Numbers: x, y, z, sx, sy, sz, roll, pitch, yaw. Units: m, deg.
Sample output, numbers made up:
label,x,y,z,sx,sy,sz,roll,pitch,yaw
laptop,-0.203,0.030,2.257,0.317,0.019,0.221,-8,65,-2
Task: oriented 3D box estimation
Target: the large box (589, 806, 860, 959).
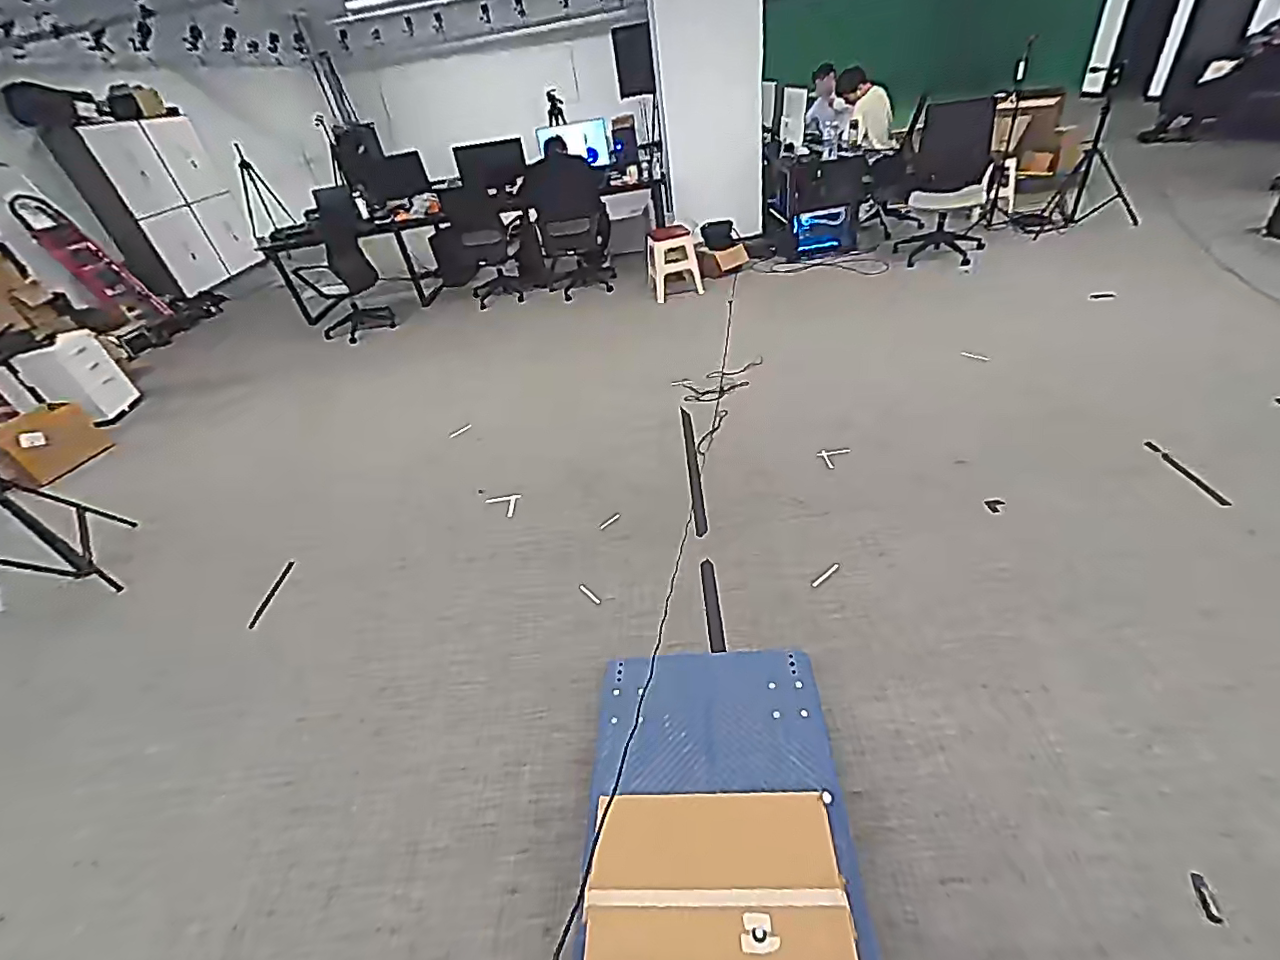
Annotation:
label,x,y,z,sx,sy,sz,roll,pitch,yaw
large box,0.138,0.791,0.918,0.408,0.320,0.320,-5,38,6
